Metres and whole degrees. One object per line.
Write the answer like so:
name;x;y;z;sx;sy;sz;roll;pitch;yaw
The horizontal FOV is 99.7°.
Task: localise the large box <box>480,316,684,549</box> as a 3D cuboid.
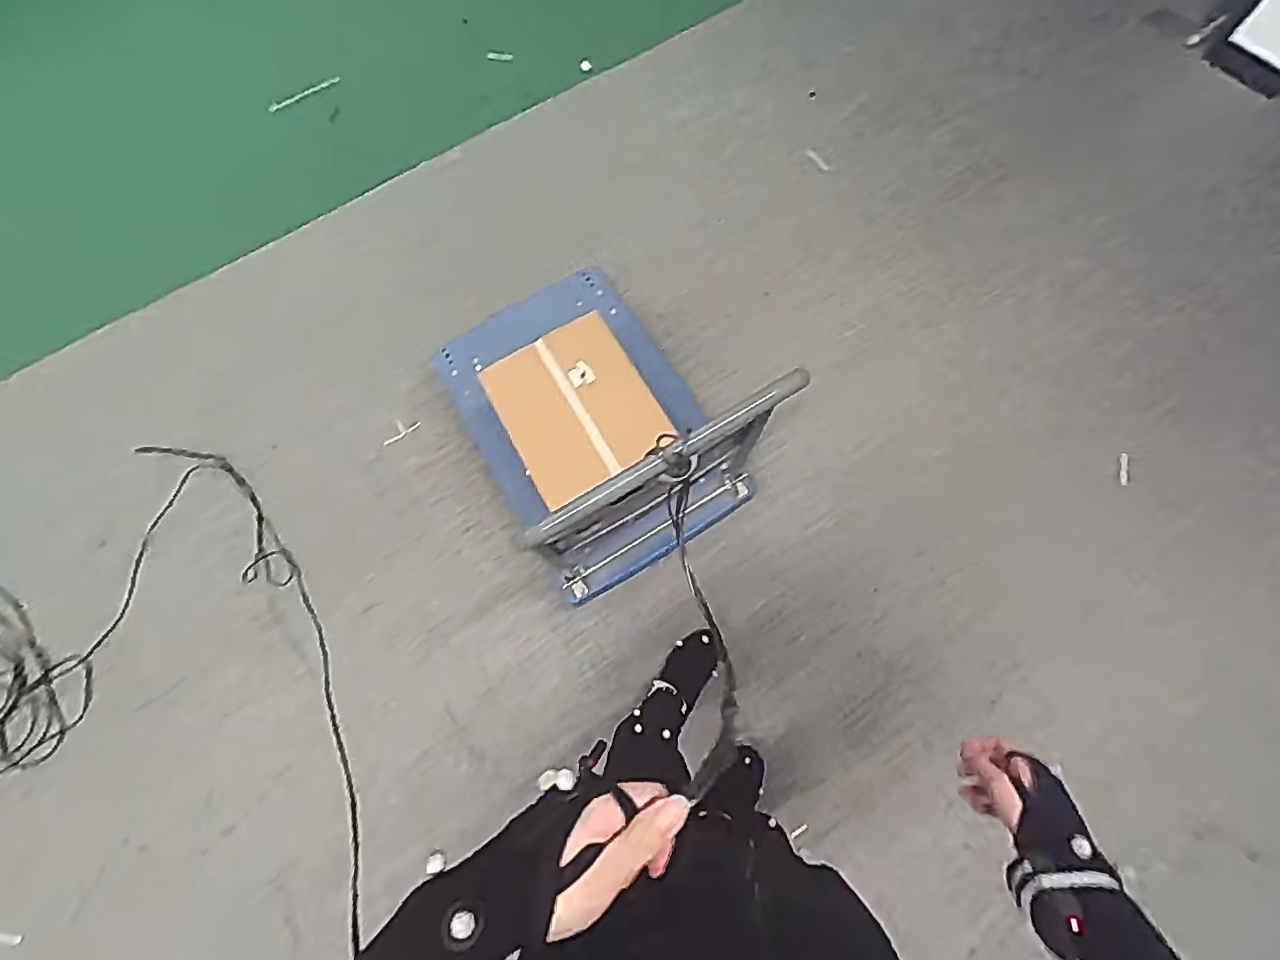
large box;-0.123;-0.100;1.315;0.320;0.320;0.408;-29;72;-7
